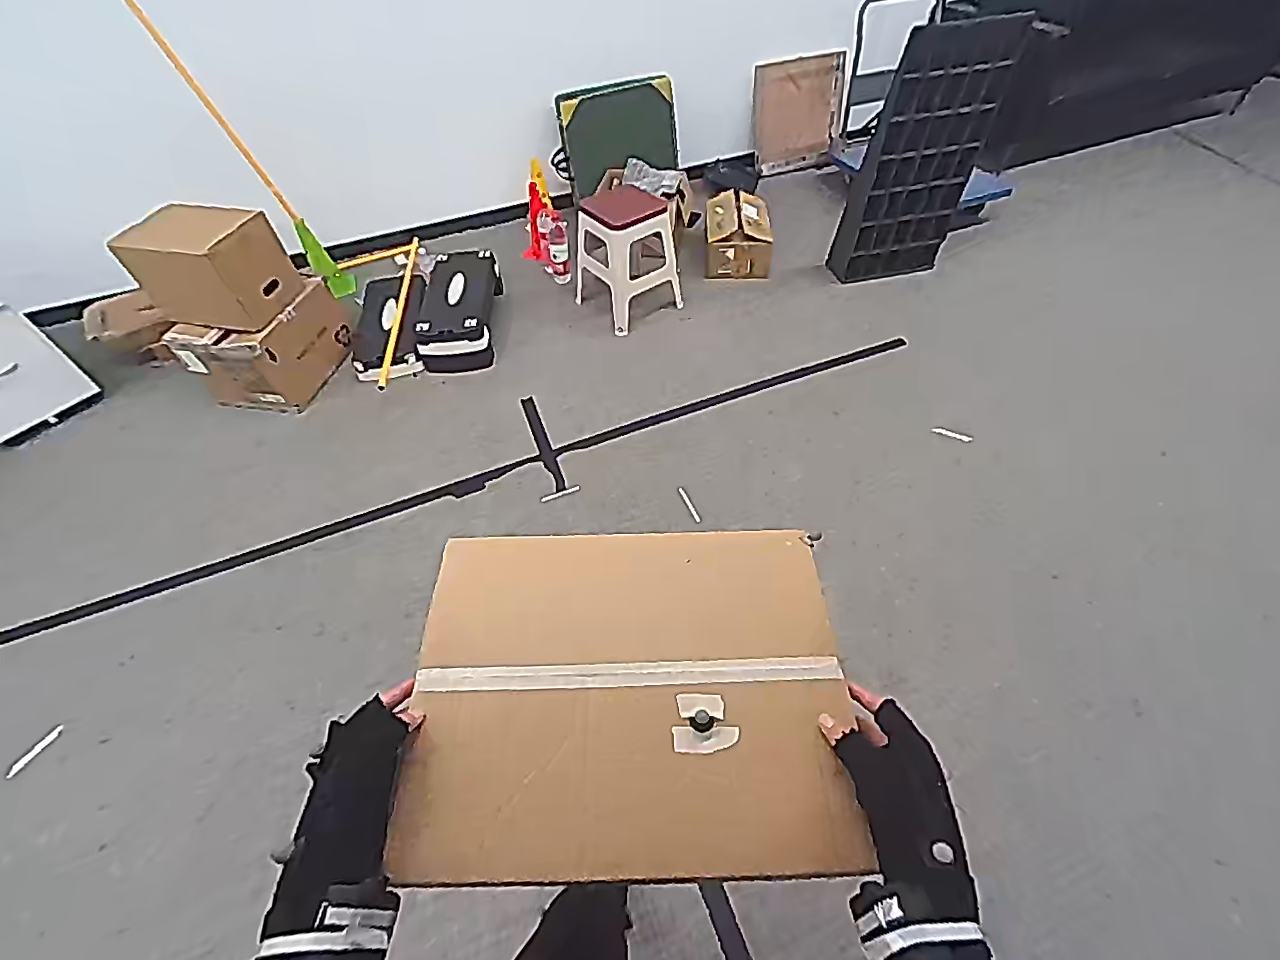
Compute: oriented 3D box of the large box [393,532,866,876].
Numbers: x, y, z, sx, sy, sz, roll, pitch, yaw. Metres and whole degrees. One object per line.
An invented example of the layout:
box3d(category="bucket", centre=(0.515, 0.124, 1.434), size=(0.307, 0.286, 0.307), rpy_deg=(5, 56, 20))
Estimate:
box3d(category="large box", centre=(-0.011, 0.277, 0.653), size=(0.408, 0.320, 0.320), rpy_deg=(-1, 53, 0))
